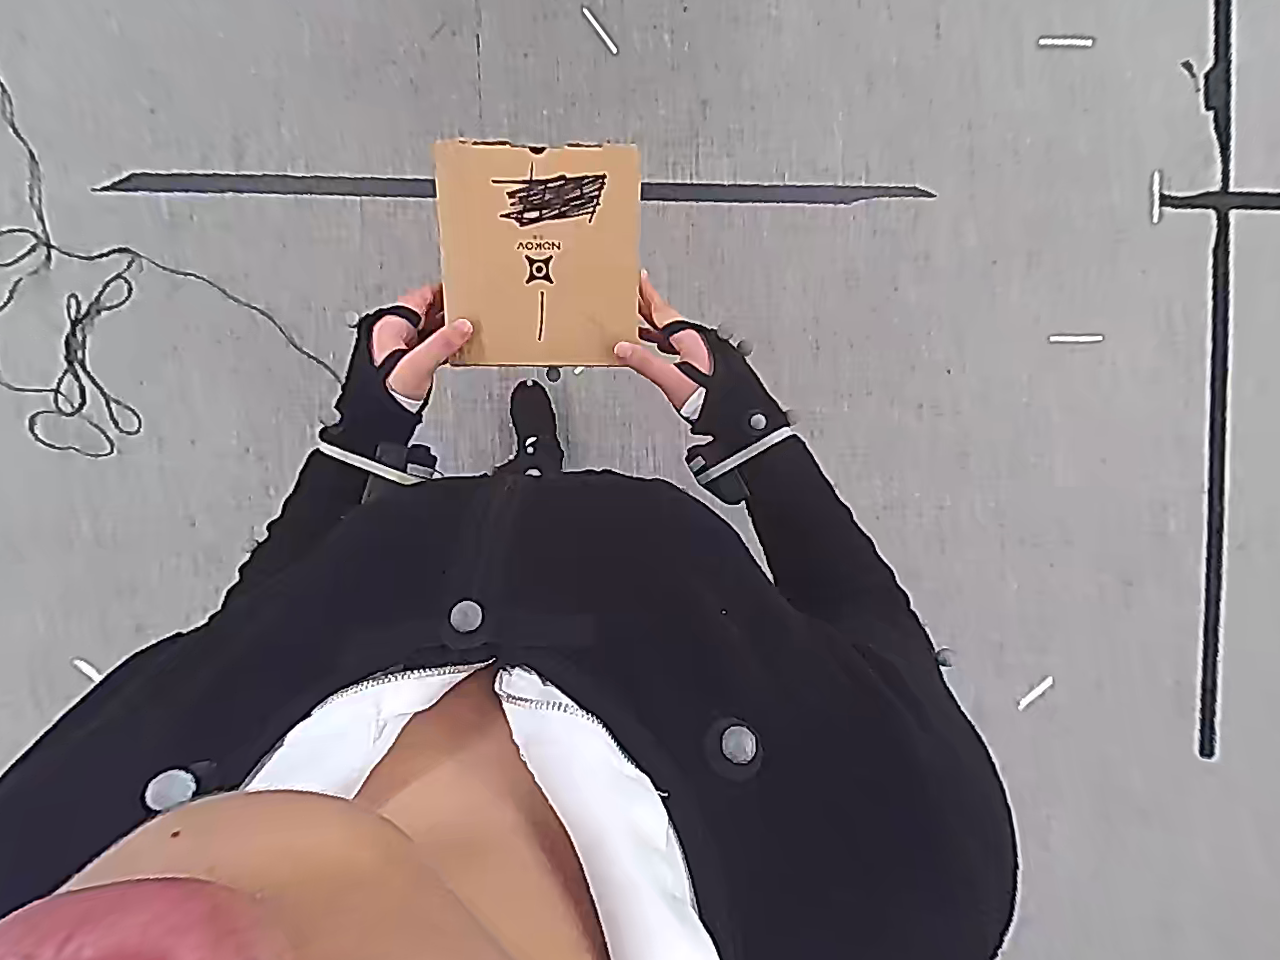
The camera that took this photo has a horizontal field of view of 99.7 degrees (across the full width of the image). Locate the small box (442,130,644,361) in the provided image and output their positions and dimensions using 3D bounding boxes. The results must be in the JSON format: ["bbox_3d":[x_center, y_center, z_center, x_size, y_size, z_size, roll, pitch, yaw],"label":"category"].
[{"bbox_3d":[-0.083,-0.210,0.530,0.168,0.176,0.179,0,102,-2],"label":"small box"}]
